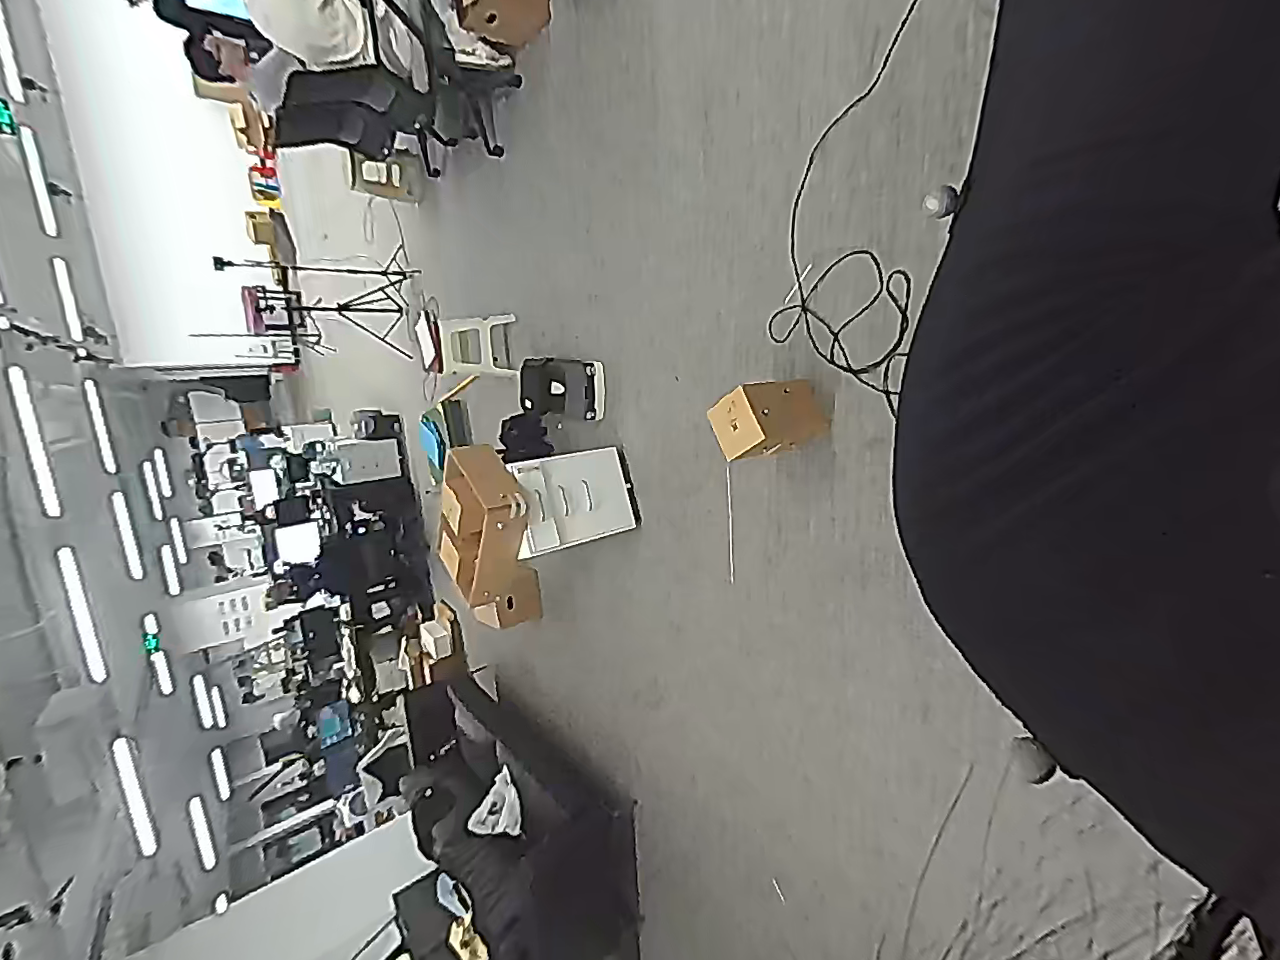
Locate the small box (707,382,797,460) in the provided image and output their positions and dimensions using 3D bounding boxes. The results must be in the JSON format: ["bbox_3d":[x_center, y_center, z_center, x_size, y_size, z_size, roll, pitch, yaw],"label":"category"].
[{"bbox_3d":[0.340,-0.180,1.627,0.168,0.176,0.179,-37,71,50],"label":"small box"}]

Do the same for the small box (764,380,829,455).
[{"bbox_3d":[0.467,-0.205,1.729,0.168,0.176,0.179,-45,65,48],"label":"small box"}]
